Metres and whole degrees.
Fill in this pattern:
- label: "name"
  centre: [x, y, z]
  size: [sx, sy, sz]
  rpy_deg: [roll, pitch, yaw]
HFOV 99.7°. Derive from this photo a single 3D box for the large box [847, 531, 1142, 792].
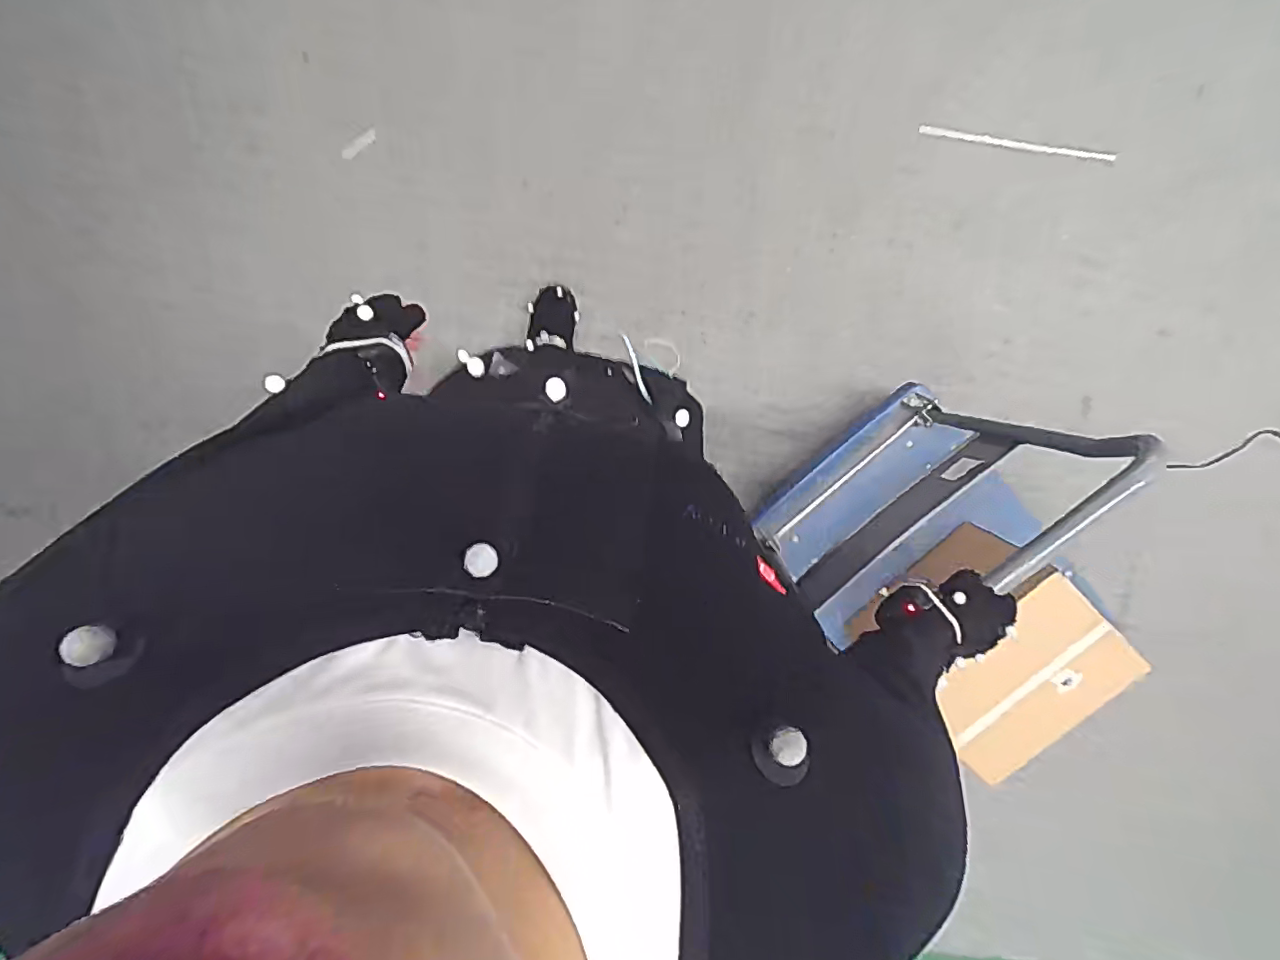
- label: "large box"
  centre: [0.770, 0.392, 1.241]
  size: [0.320, 0.320, 0.408]
  rpy_deg: [42, 99, -9]
